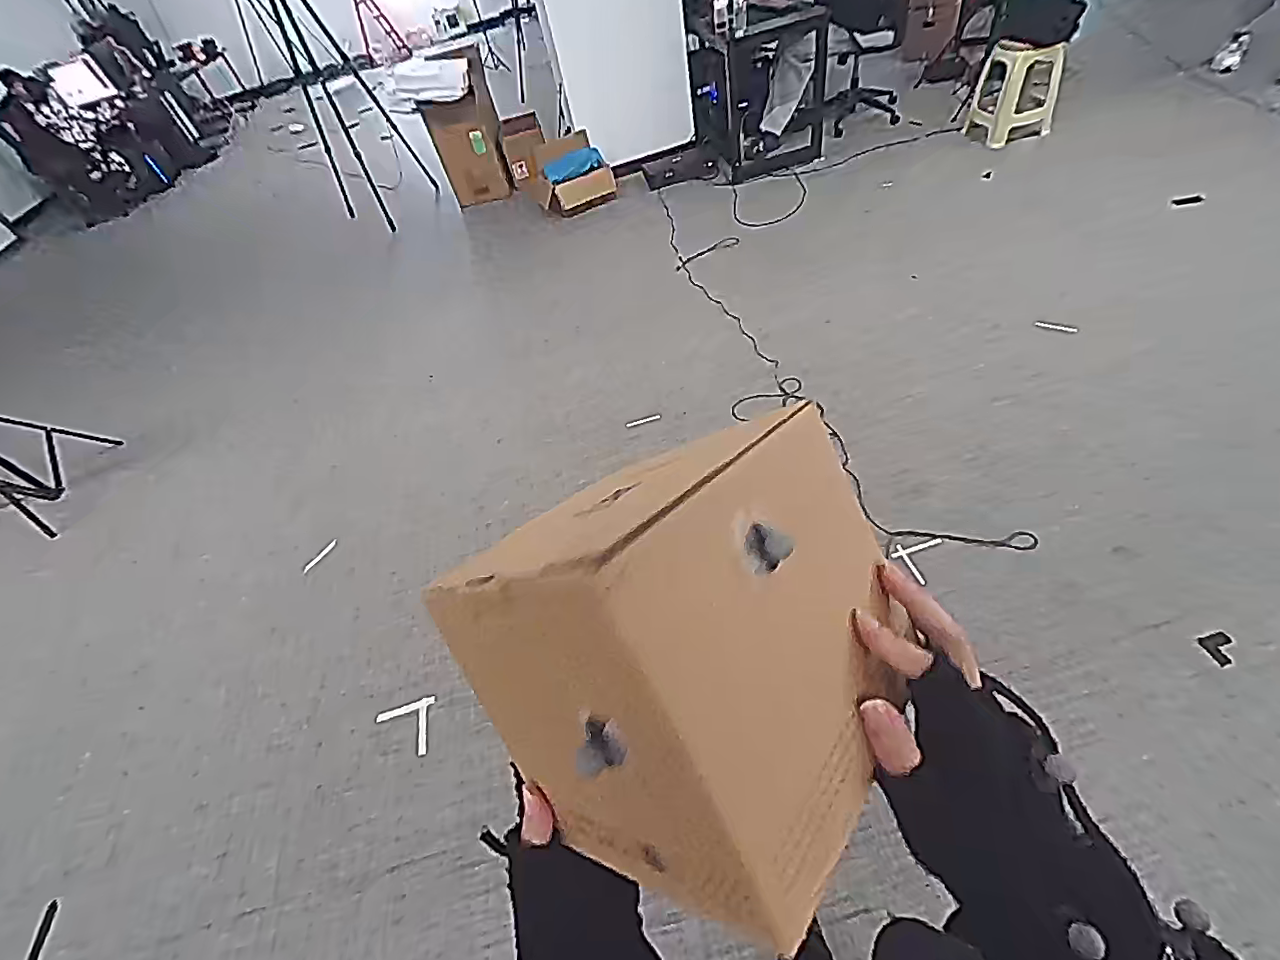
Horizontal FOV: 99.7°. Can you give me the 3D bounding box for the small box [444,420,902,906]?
[{"bbox_3d":[0.025,0.090,0.318,0.168,0.176,0.179,-21,7,47],"label":"small box"}]
